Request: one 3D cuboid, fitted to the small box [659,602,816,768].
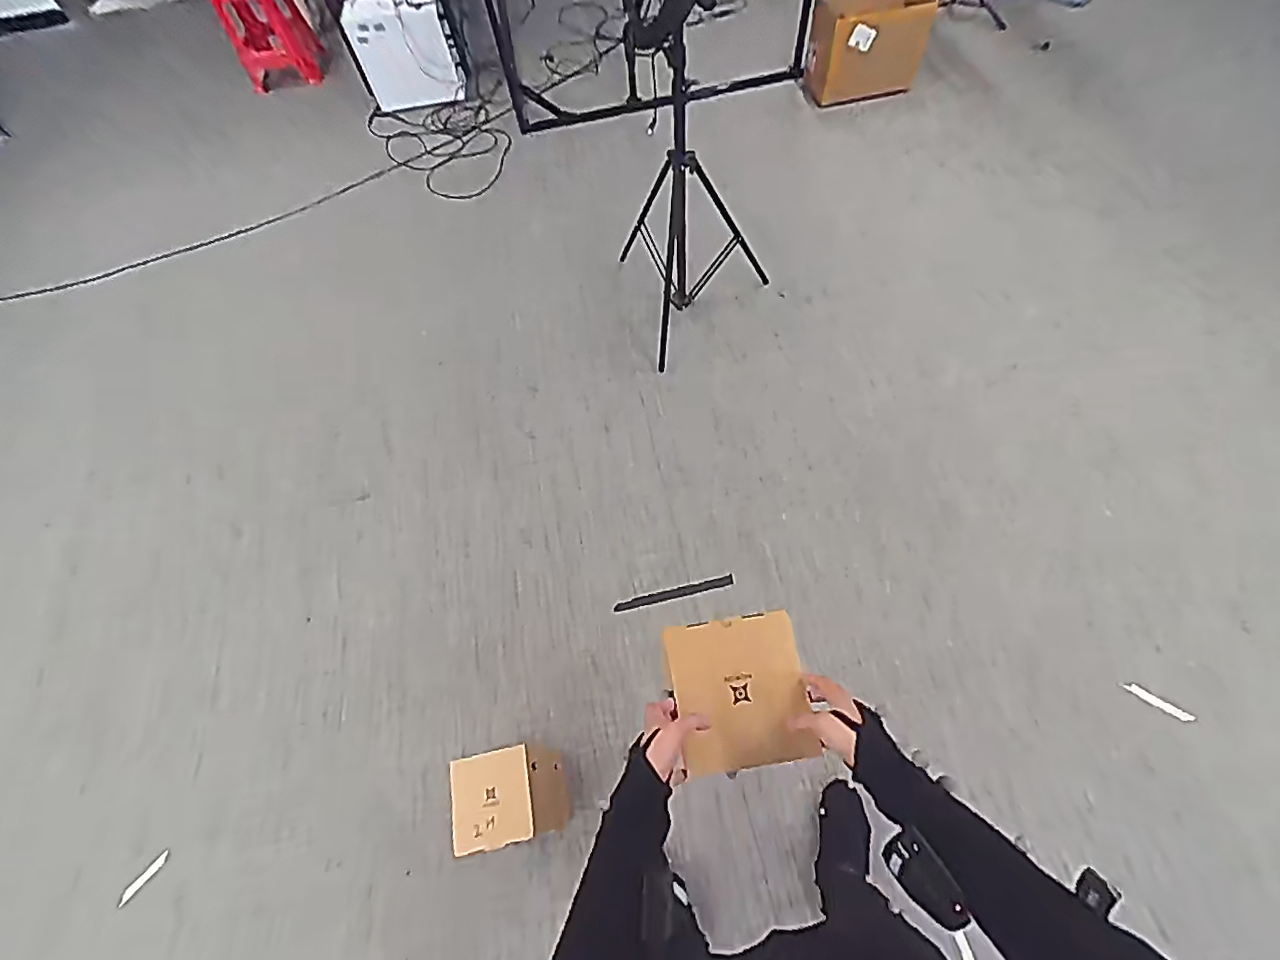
[{"bbox_3d":[0.121,0.280,0.741,0.168,0.176,0.179,-9,66,-2],"label":"small box"}]

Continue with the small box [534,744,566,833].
[{"bbox_3d":[-0.284,0.757,1.313,0.168,0.176,0.179,-13,62,0],"label":"small box"}]

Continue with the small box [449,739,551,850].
[{"bbox_3d":[-0.300,0.675,1.172,0.168,0.176,0.179,-13,63,0],"label":"small box"}]
